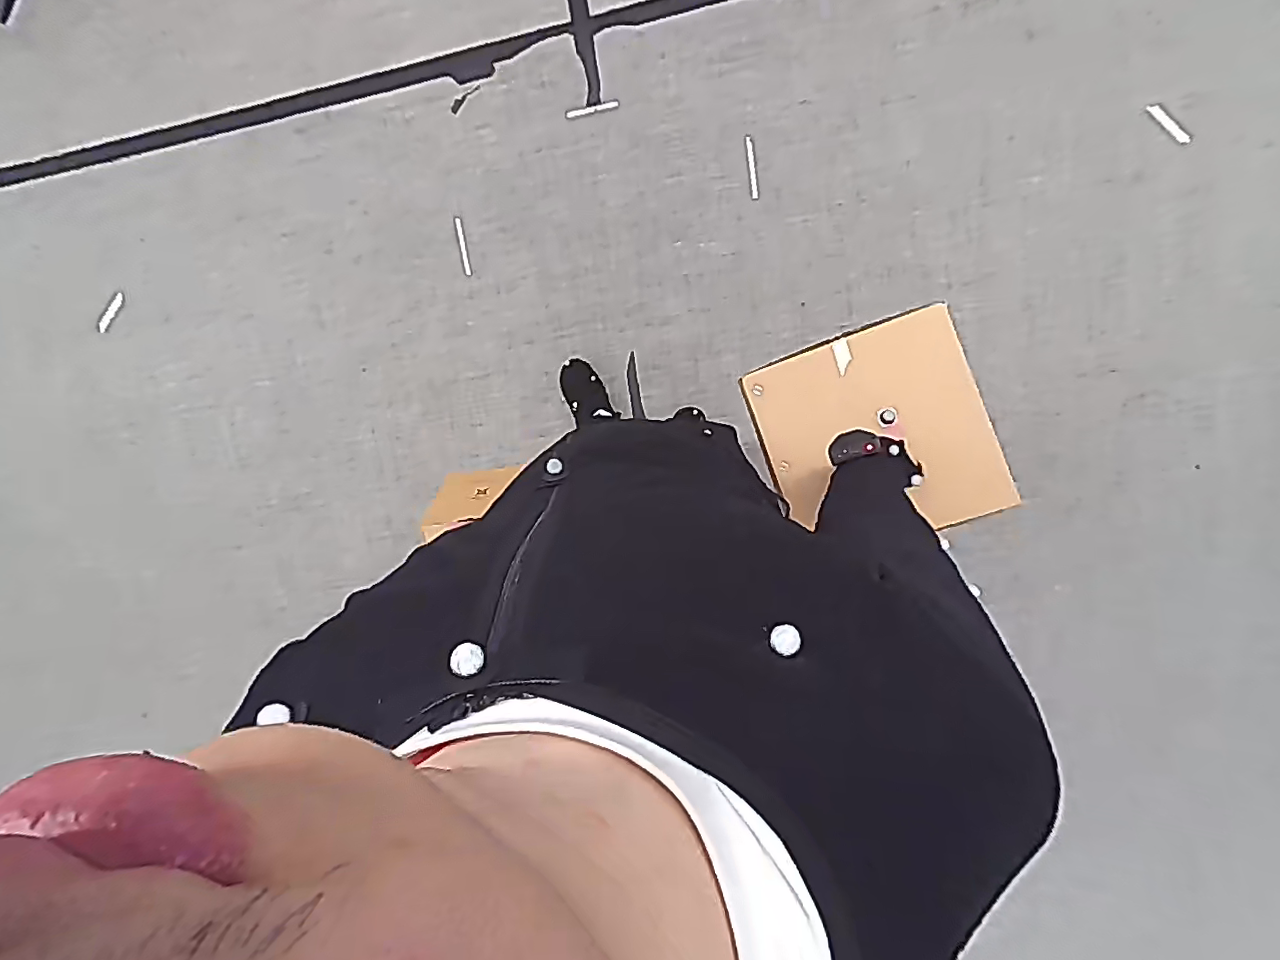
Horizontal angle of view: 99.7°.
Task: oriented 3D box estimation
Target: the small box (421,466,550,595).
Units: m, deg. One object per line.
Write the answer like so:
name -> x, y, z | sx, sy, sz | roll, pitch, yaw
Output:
small box -> -0.270, 0.096, 0.993 | 0.168, 0.179, 0.176 | -7, 118, 3
